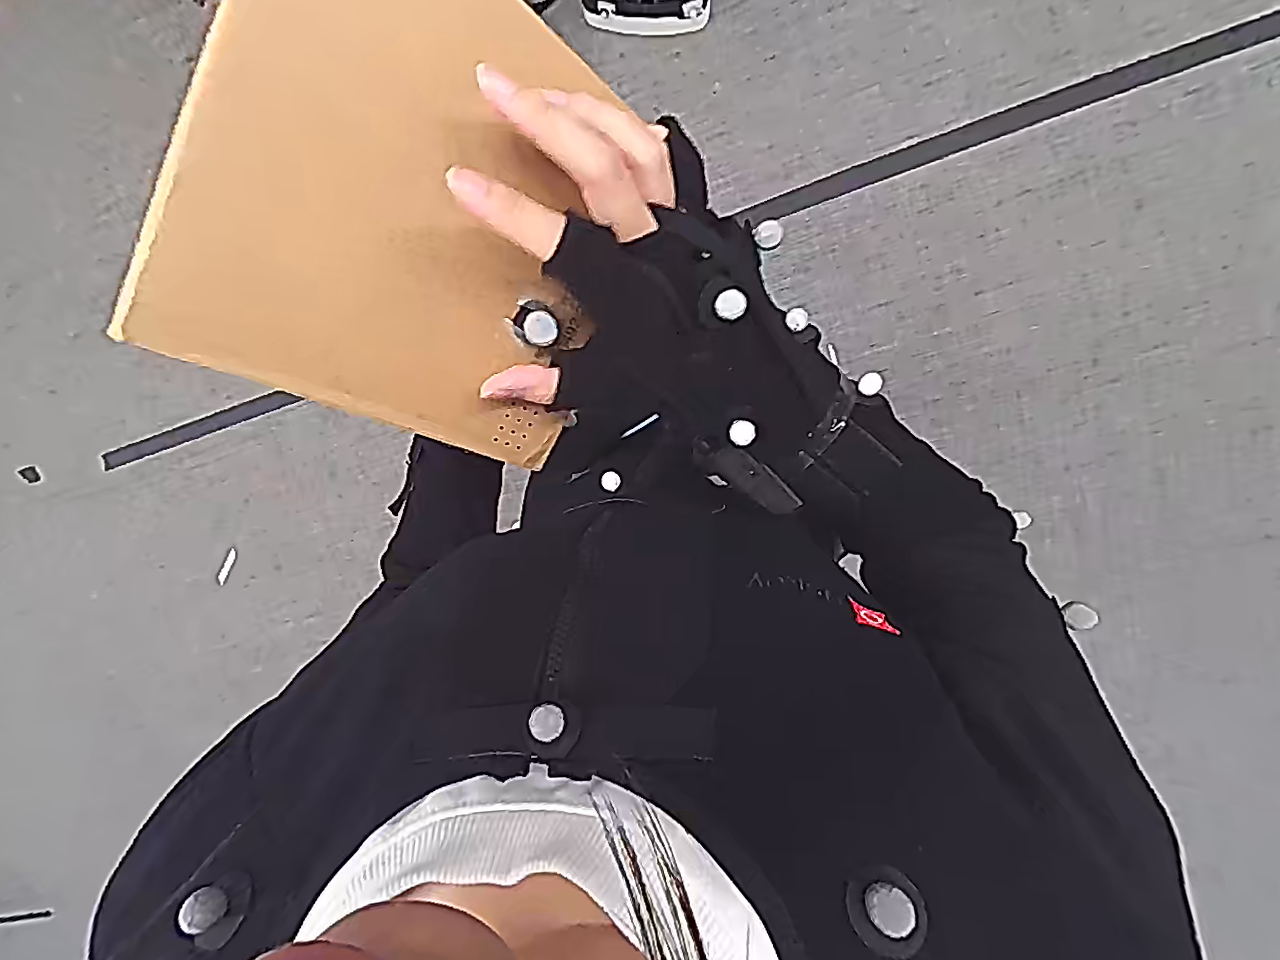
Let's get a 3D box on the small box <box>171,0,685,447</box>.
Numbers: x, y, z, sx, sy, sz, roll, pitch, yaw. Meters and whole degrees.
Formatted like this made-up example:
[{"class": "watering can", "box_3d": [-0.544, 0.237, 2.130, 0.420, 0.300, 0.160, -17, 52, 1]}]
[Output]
[{"class": "small box", "box_3d": [-0.112, -0.135, 0.293, 0.176, 0.179, 0.168, 20, 101, -42]}]
